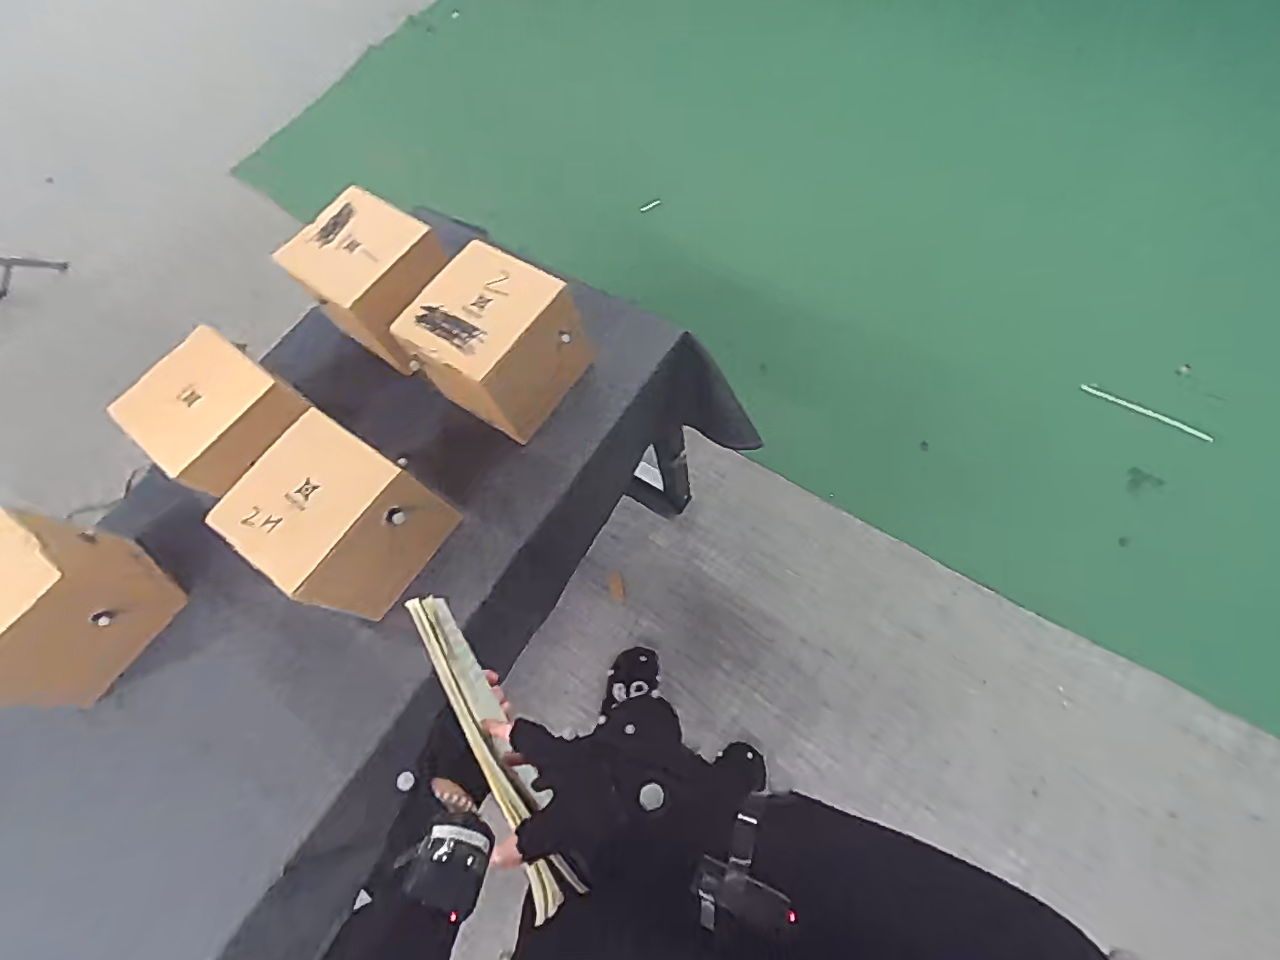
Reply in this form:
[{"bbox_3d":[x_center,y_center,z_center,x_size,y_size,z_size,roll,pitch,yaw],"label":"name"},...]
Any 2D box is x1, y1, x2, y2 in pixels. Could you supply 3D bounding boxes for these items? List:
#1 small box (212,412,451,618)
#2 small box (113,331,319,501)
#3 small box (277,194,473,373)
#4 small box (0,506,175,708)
[{"bbox_3d":[-0.371,0.051,0.691,0.168,0.176,0.179,31,75,20],"label":"small box"},{"bbox_3d":[-0.567,-0.072,0.774,0.179,0.176,0.168,33,75,19],"label":"small box"},{"bbox_3d":[-0.399,-0.298,0.843,0.179,0.176,0.168,33,76,18],"label":"small box"},{"bbox_3d":[-0.759,0.169,0.695,0.168,0.176,0.179,32,74,19],"label":"small box"}]
